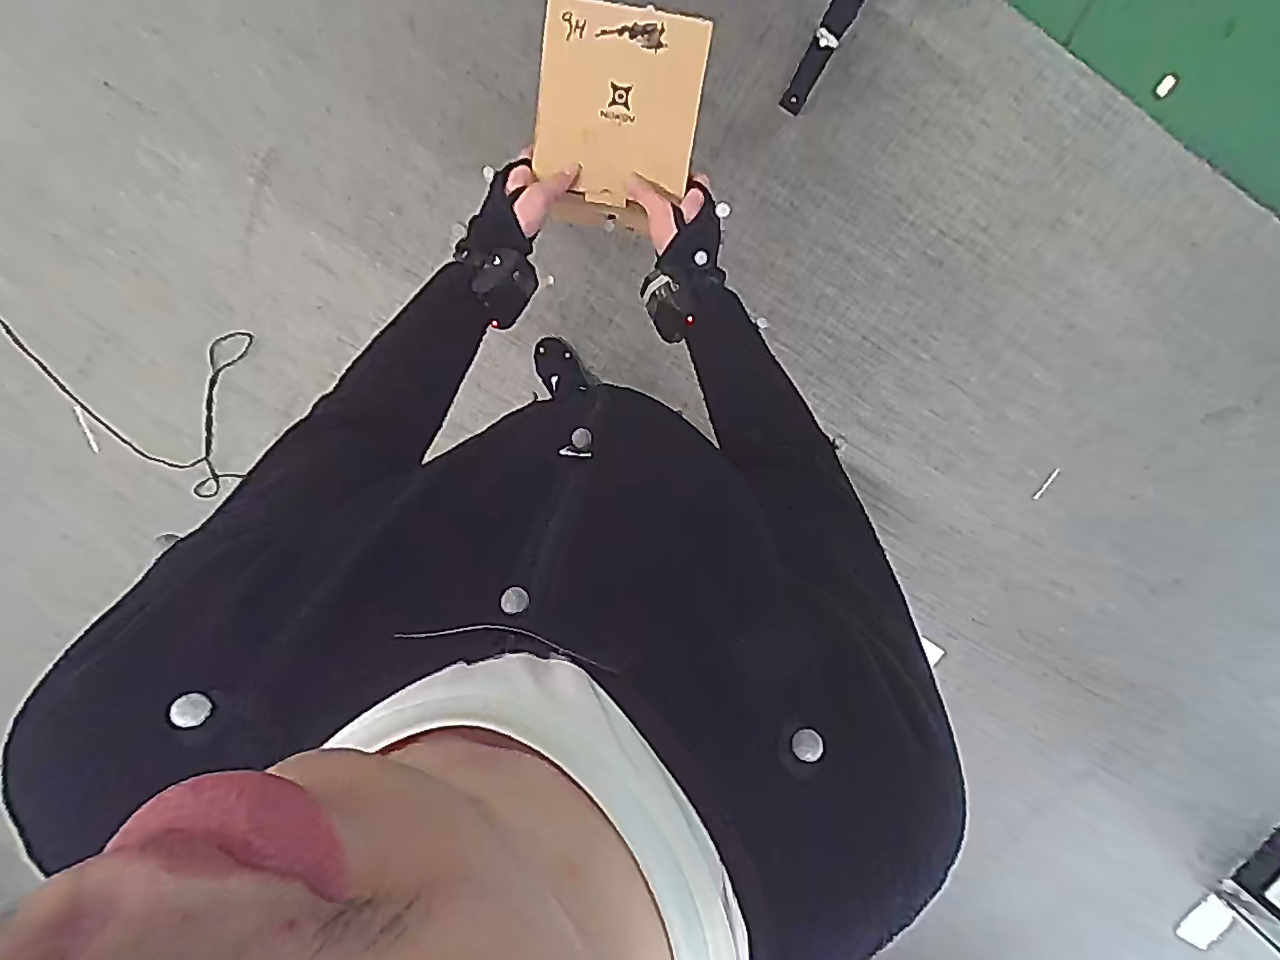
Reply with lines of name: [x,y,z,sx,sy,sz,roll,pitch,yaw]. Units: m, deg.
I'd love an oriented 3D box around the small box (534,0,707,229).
small box: [-0.021,-0.407,0.633,0.168,0.176,0.179,6,104,-1]
